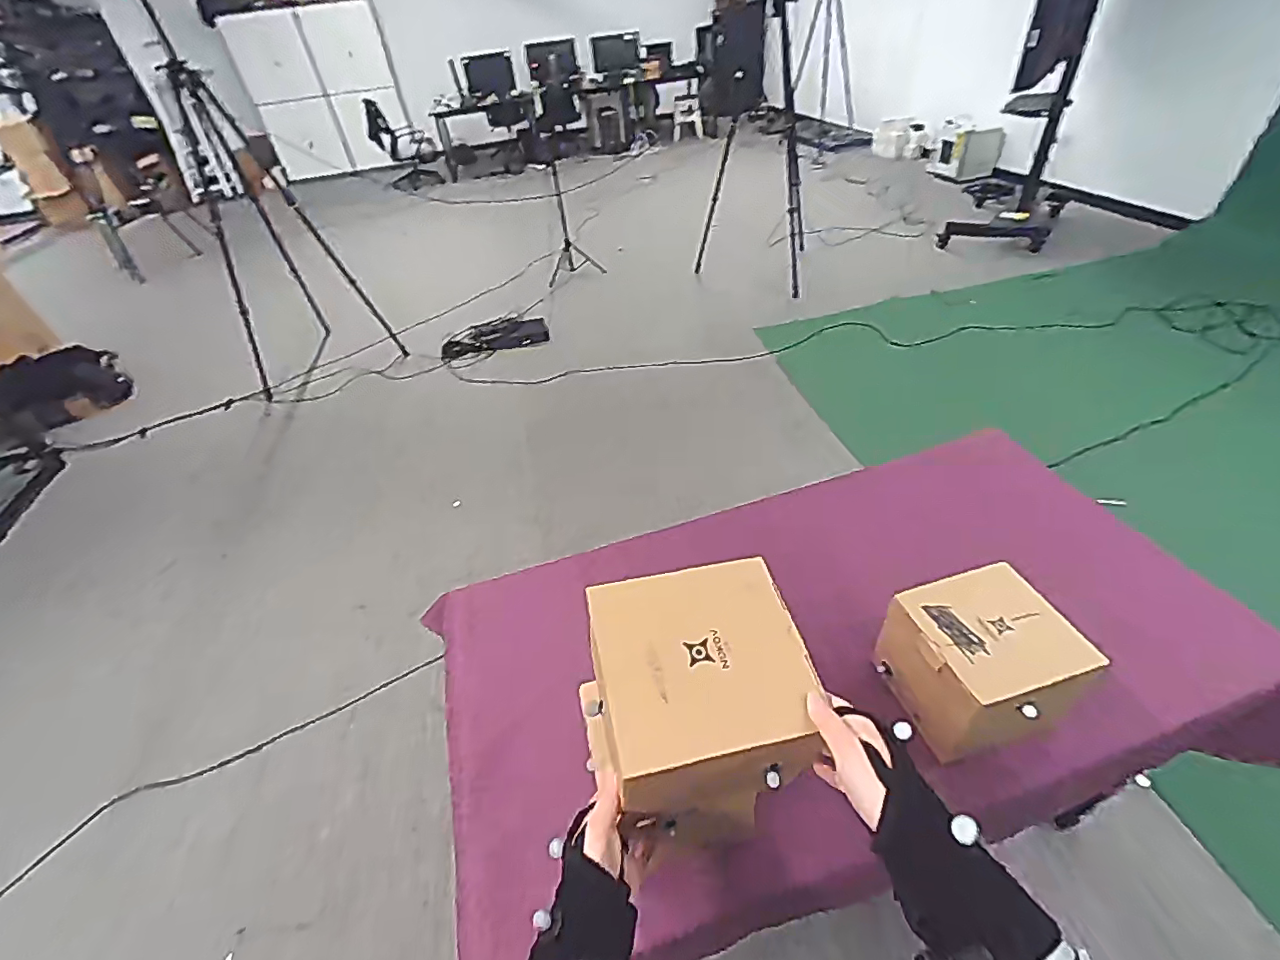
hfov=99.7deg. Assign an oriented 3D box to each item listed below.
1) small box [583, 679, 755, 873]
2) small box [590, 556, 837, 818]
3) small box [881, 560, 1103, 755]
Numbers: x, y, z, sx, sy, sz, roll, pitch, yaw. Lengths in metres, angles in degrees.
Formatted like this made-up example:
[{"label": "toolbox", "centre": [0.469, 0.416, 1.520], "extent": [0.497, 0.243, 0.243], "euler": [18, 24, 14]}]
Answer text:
[{"label": "small box", "centre": [0.033, 0.351, 0.680], "extent": [0.168, 0.176, 0.179], "euler": [-15, 41, -6]}, {"label": "small box", "centre": [0.052, 0.198, 0.516], "extent": [0.179, 0.176, 0.168], "euler": [-9, 49, -9]}, {"label": "small box", "centre": [0.451, 0.241, 0.733], "extent": [0.179, 0.176, 0.168], "euler": [-14, 42, -8]}]
